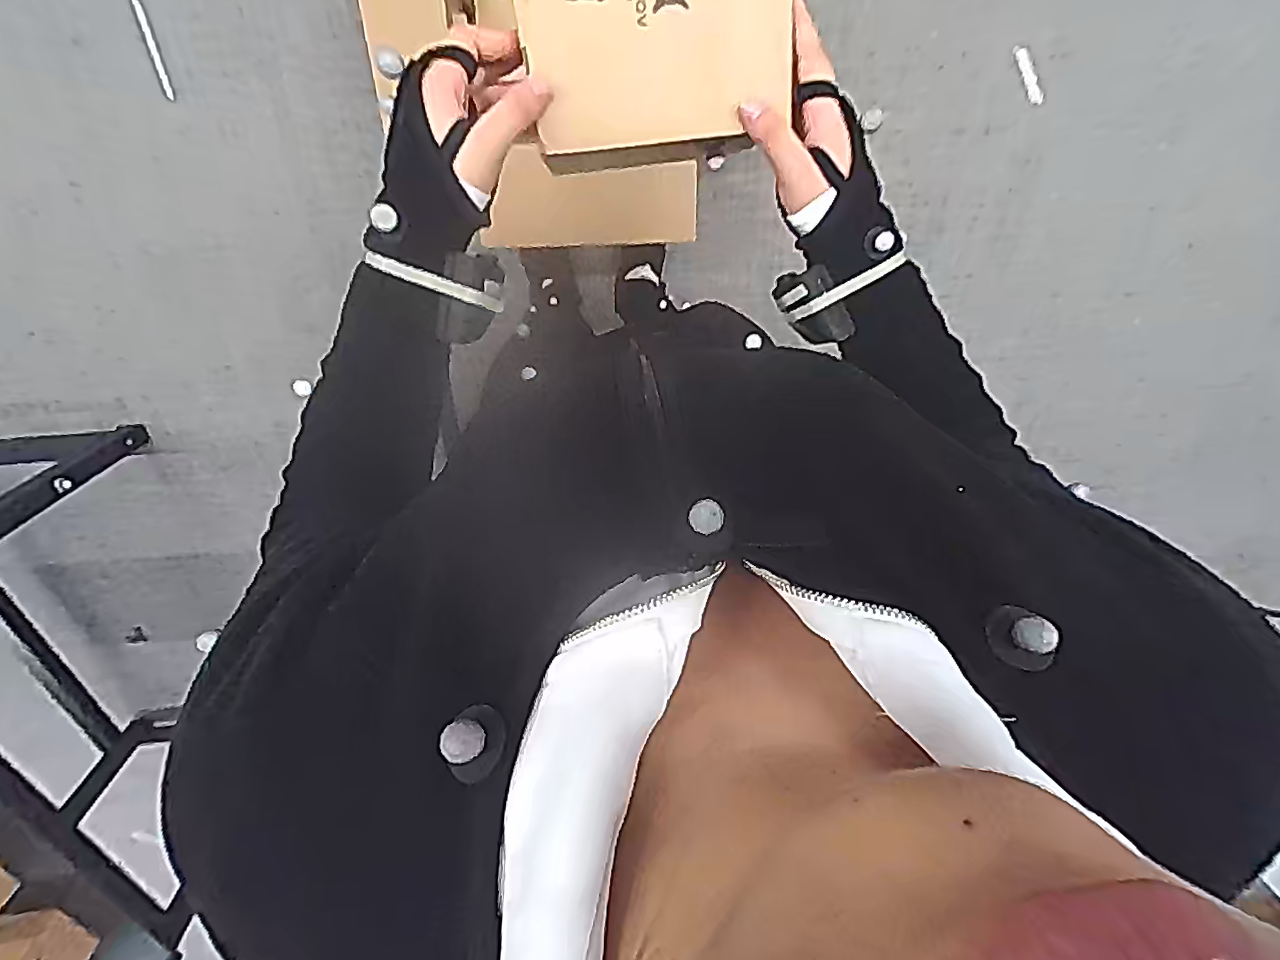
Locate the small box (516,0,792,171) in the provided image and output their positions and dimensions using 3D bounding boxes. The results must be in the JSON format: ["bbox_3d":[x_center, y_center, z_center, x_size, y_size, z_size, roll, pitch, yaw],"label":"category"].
[{"bbox_3d":[0.002,-0.340,0.408,0.179,0.176,0.168,-8,116,-2],"label":"small box"}]

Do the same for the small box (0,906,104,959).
[{"bbox_3d":[-1.384,1.082,1.208,0.168,0.176,0.179,-5,122,-1],"label":"small box"}]

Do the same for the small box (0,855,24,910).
[{"bbox_3d":[-1.401,0.831,1.054,0.168,0.176,0.179,-3,122,-3],"label":"small box"}]
